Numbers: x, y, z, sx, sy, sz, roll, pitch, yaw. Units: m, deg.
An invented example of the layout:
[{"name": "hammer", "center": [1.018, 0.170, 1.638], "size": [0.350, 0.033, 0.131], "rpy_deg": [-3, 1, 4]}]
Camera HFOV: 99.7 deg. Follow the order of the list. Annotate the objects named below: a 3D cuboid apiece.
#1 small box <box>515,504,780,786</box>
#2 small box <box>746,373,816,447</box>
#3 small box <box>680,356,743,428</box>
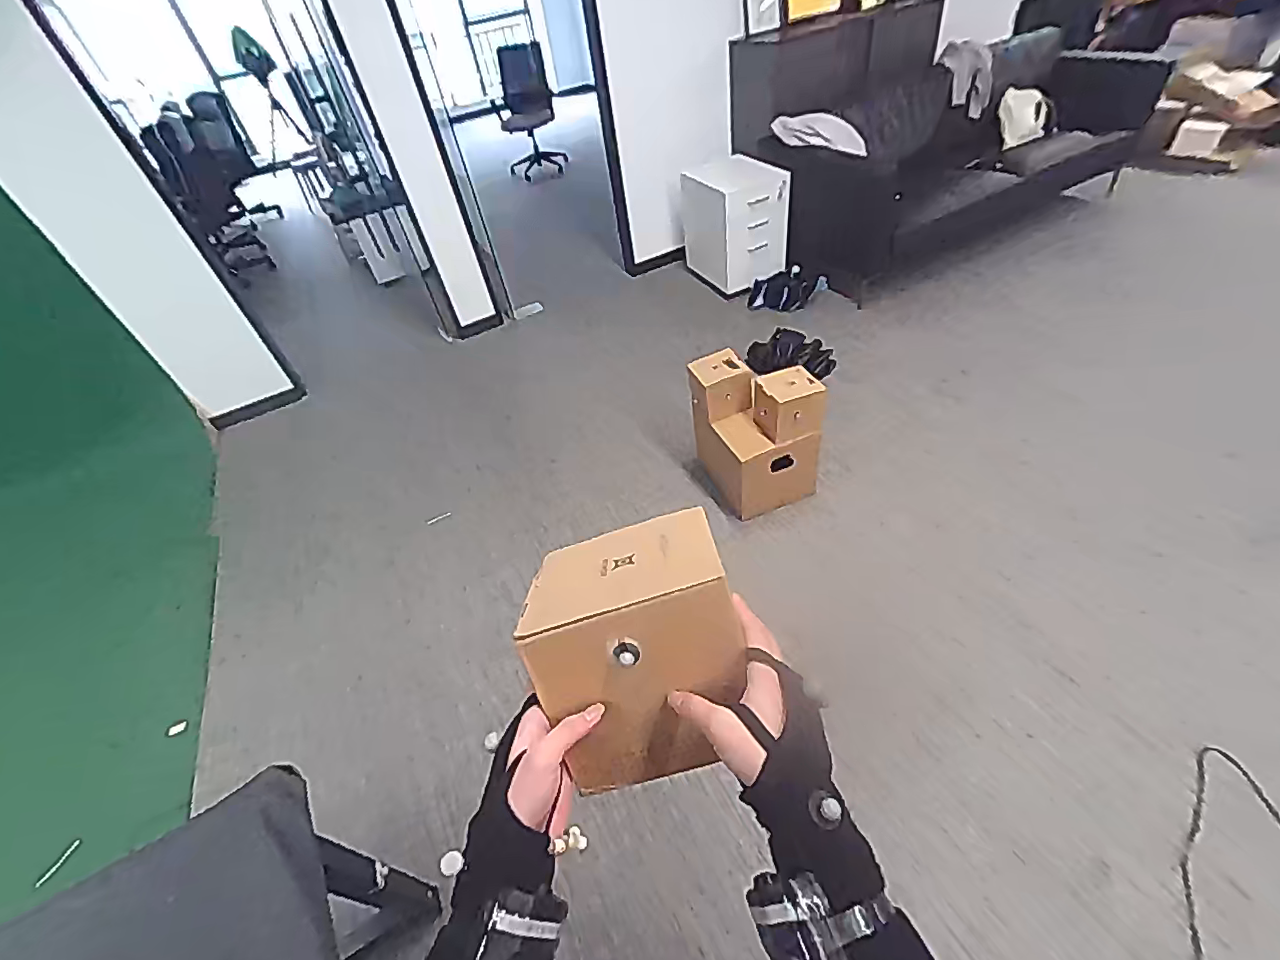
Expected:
[{"name": "small box", "center": [0.009, 0.144, 0.499], "size": [0.179, 0.176, 0.168], "rpy_deg": [-16, 15, 3]}, {"name": "small box", "center": [0.475, -0.236, 1.841], "size": [0.179, 0.176, 0.168], "rpy_deg": [-18, 43, -11]}, {"name": "small box", "center": [0.261, -0.320, 1.967], "size": [0.179, 0.176, 0.168], "rpy_deg": [-21, 44, -7]}]
